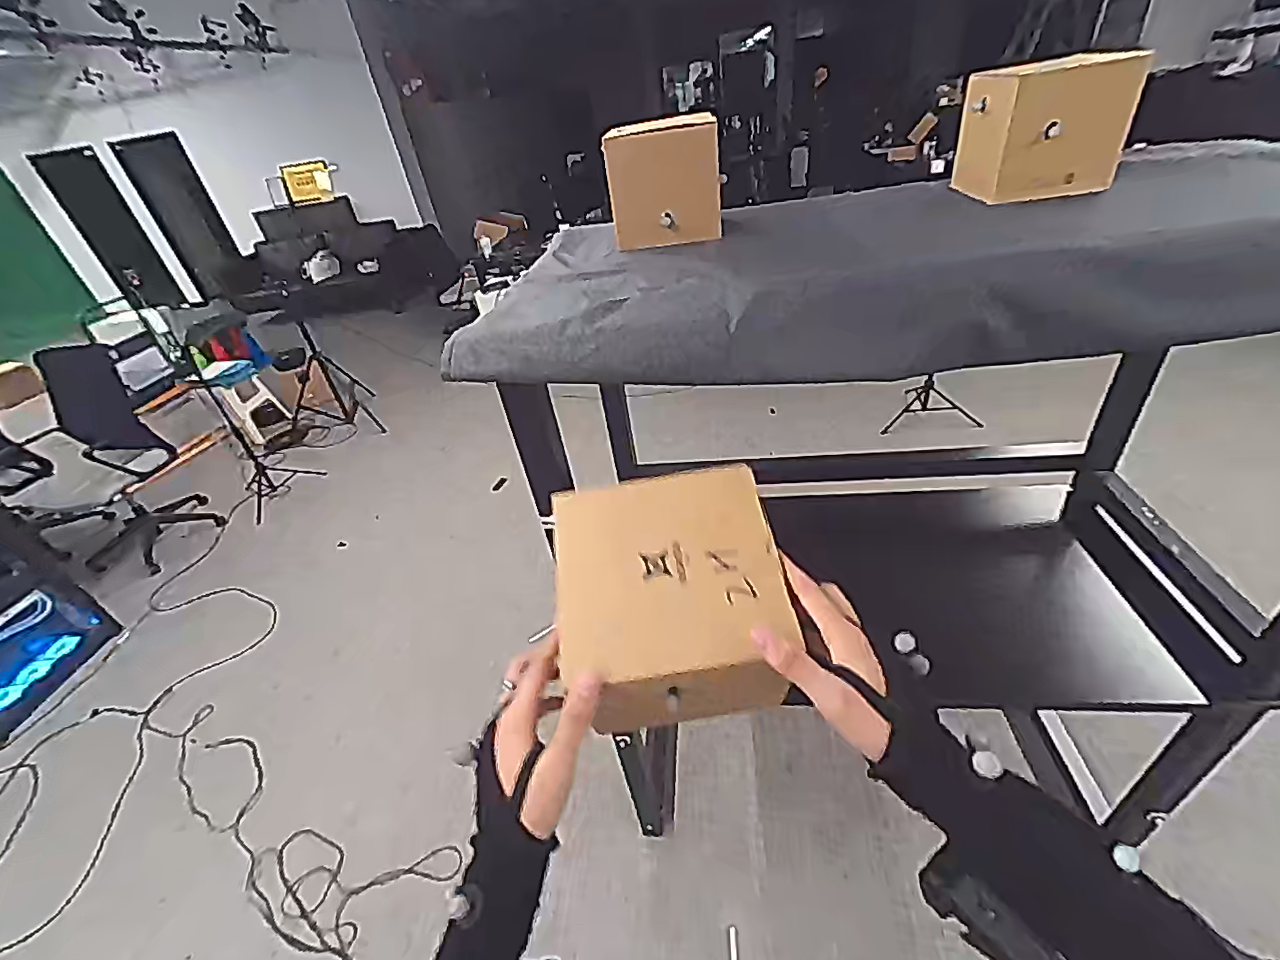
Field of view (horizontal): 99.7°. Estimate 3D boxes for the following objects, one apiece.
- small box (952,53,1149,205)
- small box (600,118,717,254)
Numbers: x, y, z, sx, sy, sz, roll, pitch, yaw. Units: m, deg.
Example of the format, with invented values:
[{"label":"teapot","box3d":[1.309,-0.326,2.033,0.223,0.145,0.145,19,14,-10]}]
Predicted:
[{"label":"small box","box3d":[0.610,-0.534,0.833,0.168,0.176,0.179,-4,36,9]},{"label":"small box","box3d":[0.040,-0.496,0.914,0.179,0.176,0.168,-4,36,7]}]
